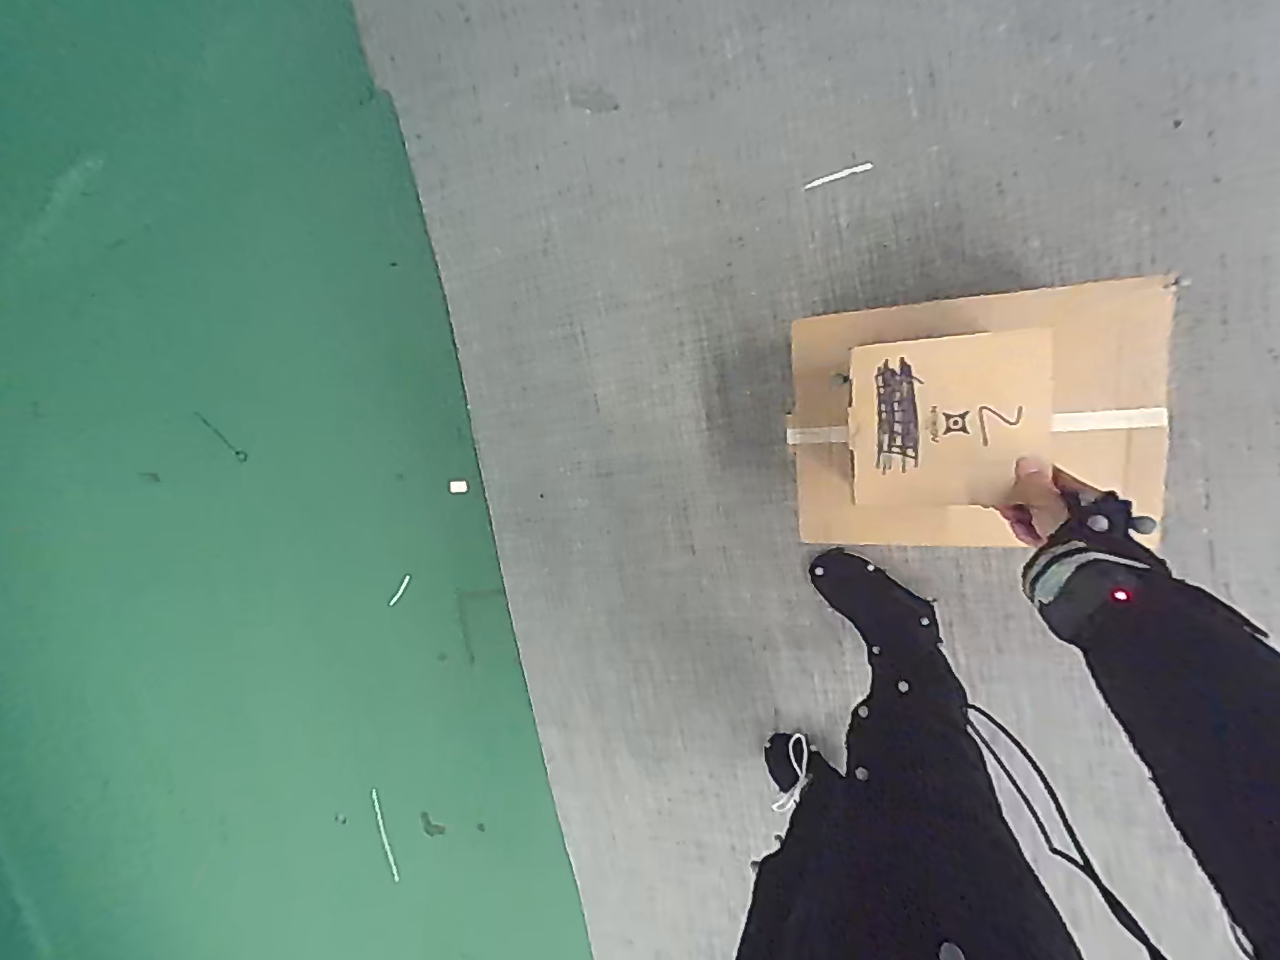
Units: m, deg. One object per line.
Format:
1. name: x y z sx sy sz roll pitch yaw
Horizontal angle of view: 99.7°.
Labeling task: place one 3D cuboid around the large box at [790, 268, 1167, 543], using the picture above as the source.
1. large box: 0.451 -0.095 0.814 0.408 0.320 0.320 -2 100 20
